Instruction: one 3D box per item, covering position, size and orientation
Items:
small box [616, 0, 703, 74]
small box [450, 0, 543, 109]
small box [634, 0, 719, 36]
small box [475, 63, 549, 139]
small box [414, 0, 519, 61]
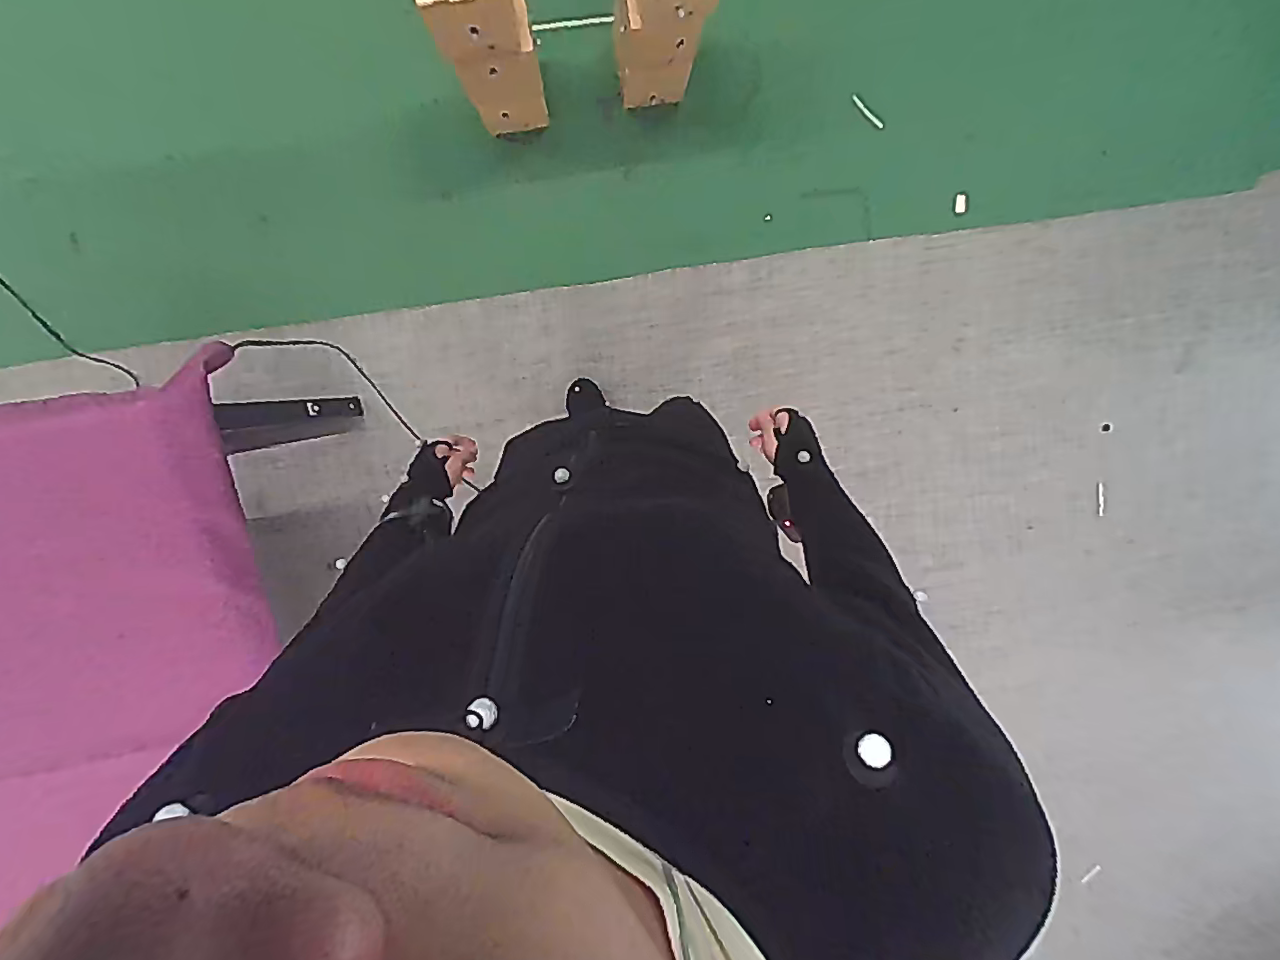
[{"bbox_3d":[0.040,-1.055,1.217,0.168,0.176,0.179,-10,100,-3],"label":"small box"},{"bbox_3d":[-0.328,-0.966,1.210,0.179,0.176,0.168,-11,99,-2],"label":"small box"},{"bbox_3d":[0.066,-1.030,1.058,0.168,0.176,0.179,-16,102,-2],"label":"small box"},{"bbox_3d":[-0.334,-0.996,1.372,0.168,0.176,0.179,-10,98,-1],"label":"small box"},{"bbox_3d":[-0.341,-0.953,1.045,0.168,0.176,0.179,-10,99,-1],"label":"small box"}]
